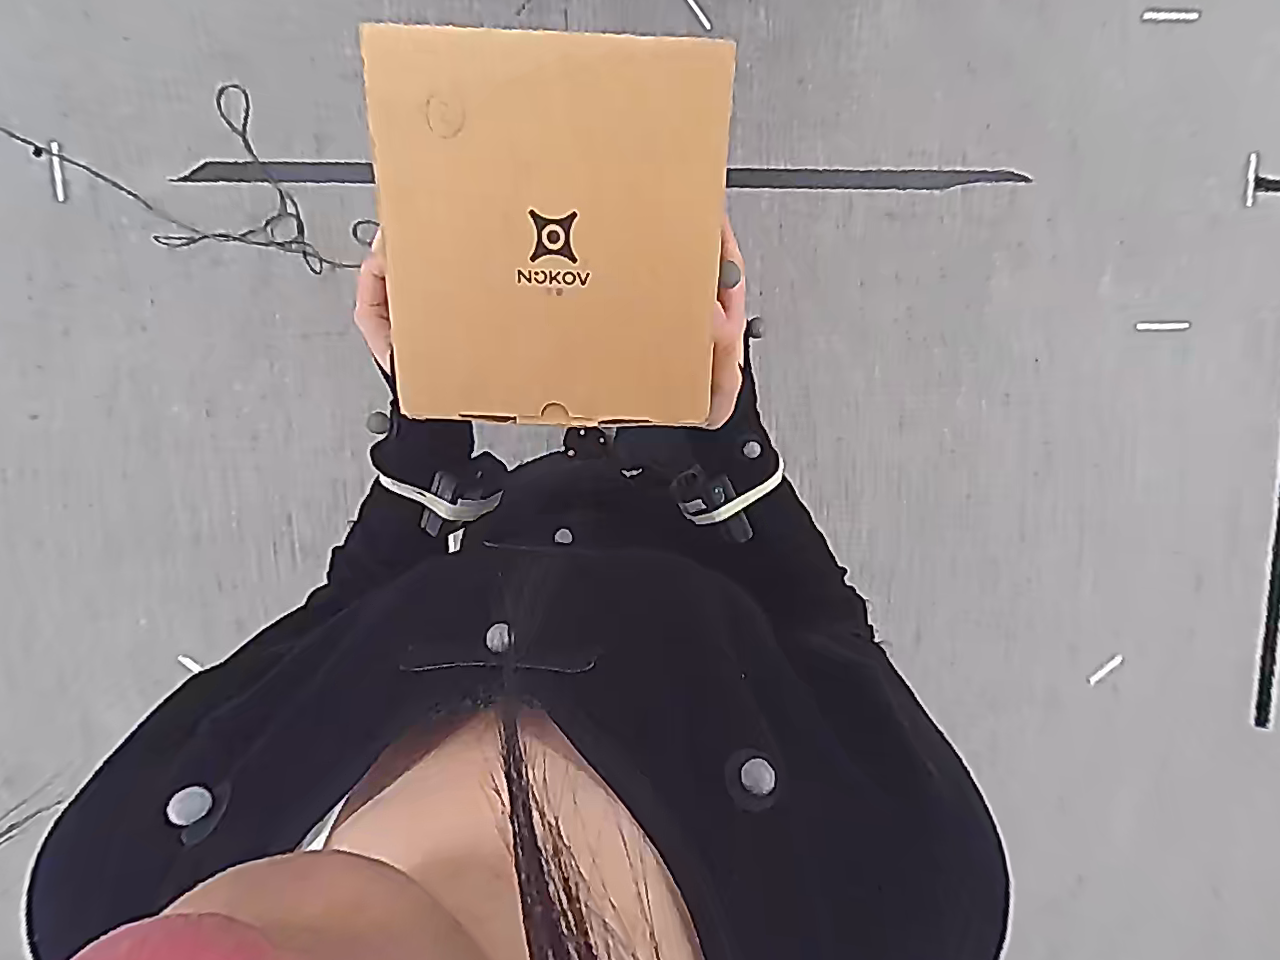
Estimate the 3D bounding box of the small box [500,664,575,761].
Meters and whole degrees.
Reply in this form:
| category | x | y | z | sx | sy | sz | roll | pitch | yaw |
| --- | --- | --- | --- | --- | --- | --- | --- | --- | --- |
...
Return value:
| category | x | y | z | sx | sy | sz | roll | pitch | yaw |
| --- | --- | --- | --- | --- | --- | --- | --- | --- | --- |
| small box | -0.269 | 0.609 | 1.443 | 0.168 | 0.176 | 0.179 | -7 | 97 | -3 |

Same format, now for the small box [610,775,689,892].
| category | x | y | z | sx | sy | sz | roll | pitch | yaw |
| --- | --- | --- | --- | --- | --- | --- | --- | --- | --- |
| small box | 0.020 | 0.854 | 1.319 | 0.179 | 0.176 | 0.168 | -4 | 97 | -3 |

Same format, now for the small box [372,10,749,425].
| category | x | y | z | sx | sy | sz | roll | pitch | yaw |
| --- | --- | --- | --- | --- | --- | --- | --- | --- | --- |
| small box | -0.039 | -0.140 | 0.334 | 0.168 | 0.176 | 0.179 | 2 | 110 | -2 |

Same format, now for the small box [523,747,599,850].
| category | x | y | z | sx | sy | sz | roll | pitch | yaw |
| --- | --- | --- | --- | --- | --- | --- | --- | --- | --- |
| small box | -0.210 | 0.862 | 1.476 | 0.179 | 0.176 | 0.168 | -8 | 97 | -3 |
